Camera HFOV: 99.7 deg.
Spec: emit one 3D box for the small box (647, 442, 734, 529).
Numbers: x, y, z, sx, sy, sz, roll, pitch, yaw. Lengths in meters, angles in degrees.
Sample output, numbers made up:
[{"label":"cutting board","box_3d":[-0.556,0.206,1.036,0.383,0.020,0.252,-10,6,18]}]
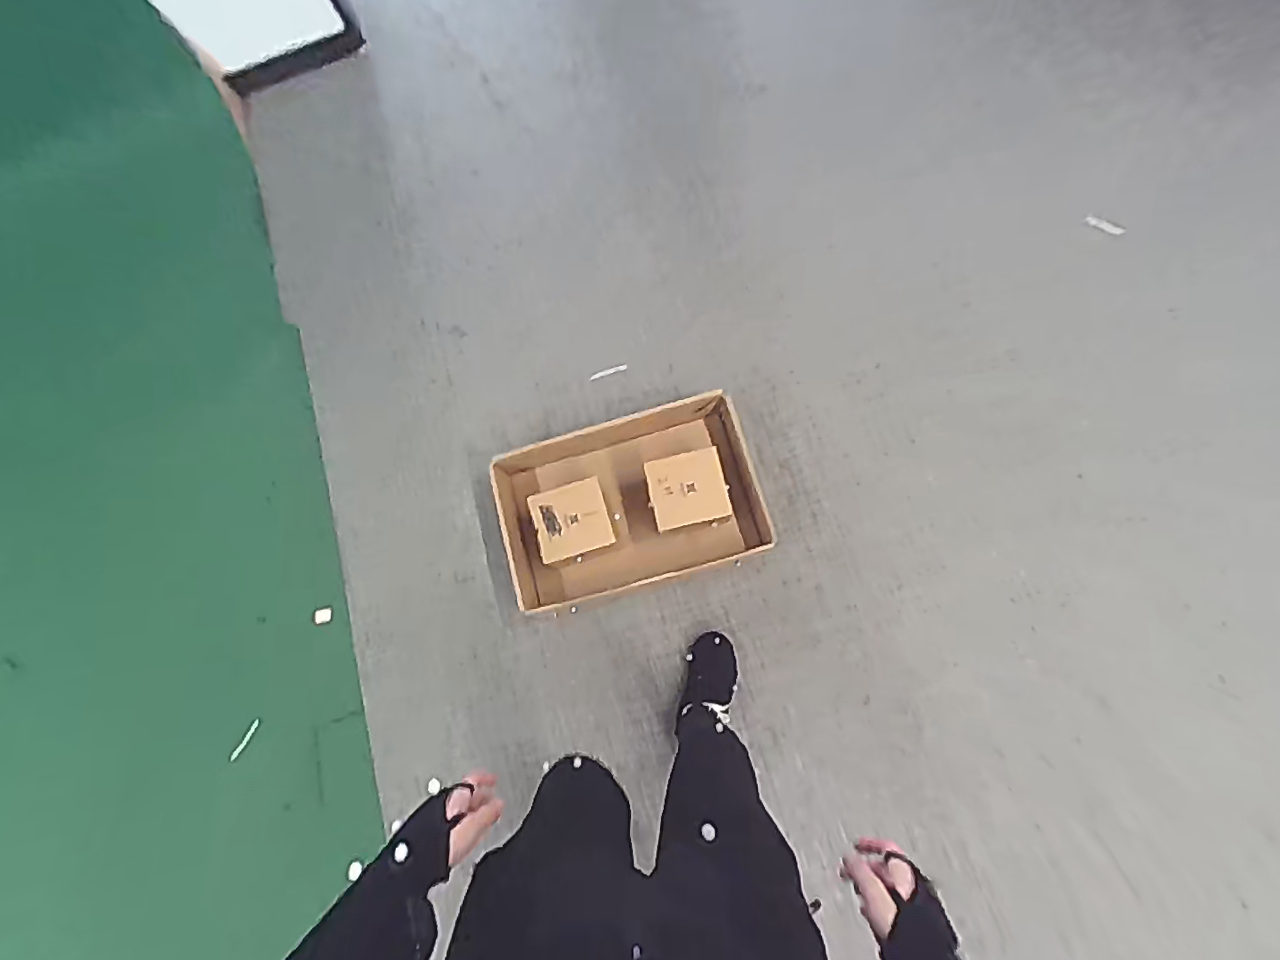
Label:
[{"label":"small box","box_3d":[0.122,0.019,1.316,0.179,0.176,0.168,-13,78,4]}]
